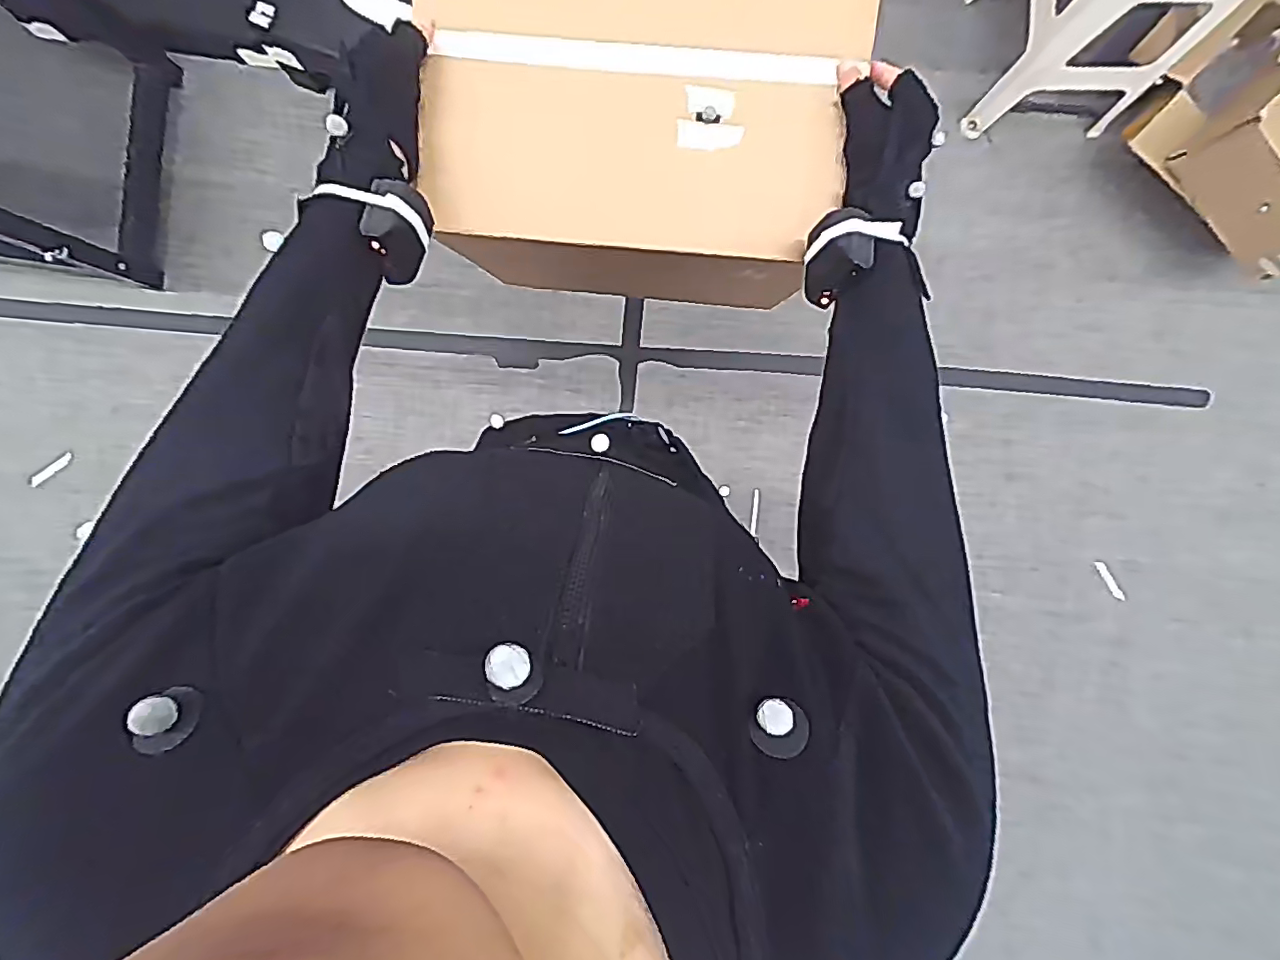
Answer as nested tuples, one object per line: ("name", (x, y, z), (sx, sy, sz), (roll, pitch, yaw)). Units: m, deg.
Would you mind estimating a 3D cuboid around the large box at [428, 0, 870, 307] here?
("large box", (0.004, -0.398, 0.643), (0.408, 0.320, 0.320), (5, 101, 0))
